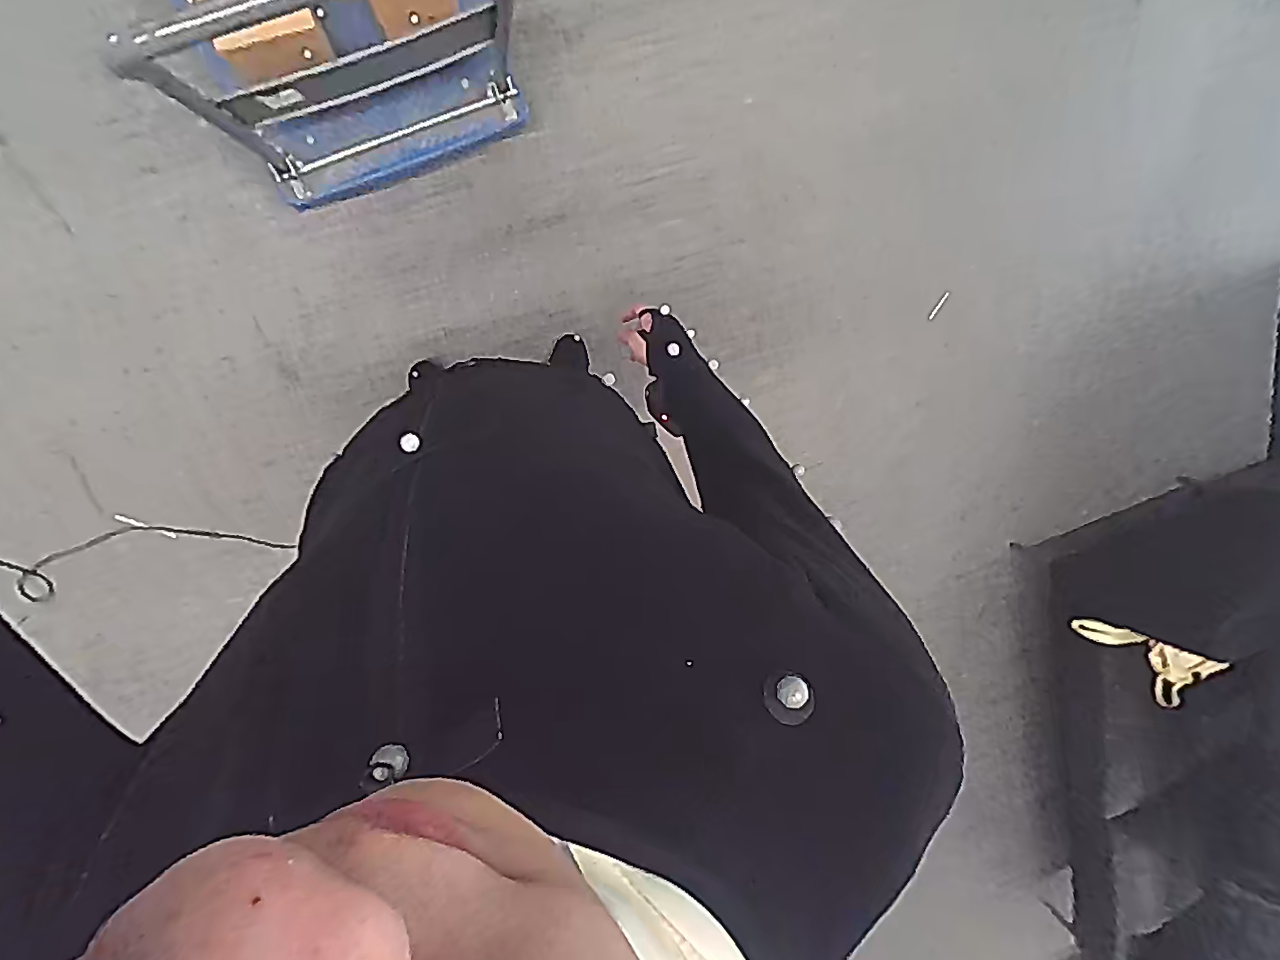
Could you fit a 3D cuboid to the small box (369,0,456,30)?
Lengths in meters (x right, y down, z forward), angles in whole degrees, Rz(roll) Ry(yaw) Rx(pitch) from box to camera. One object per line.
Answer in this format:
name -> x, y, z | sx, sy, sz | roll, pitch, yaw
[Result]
small box -> -0.465, -1.011, 1.022 | 0.168, 0.176, 0.179 | -24, 110, -6
